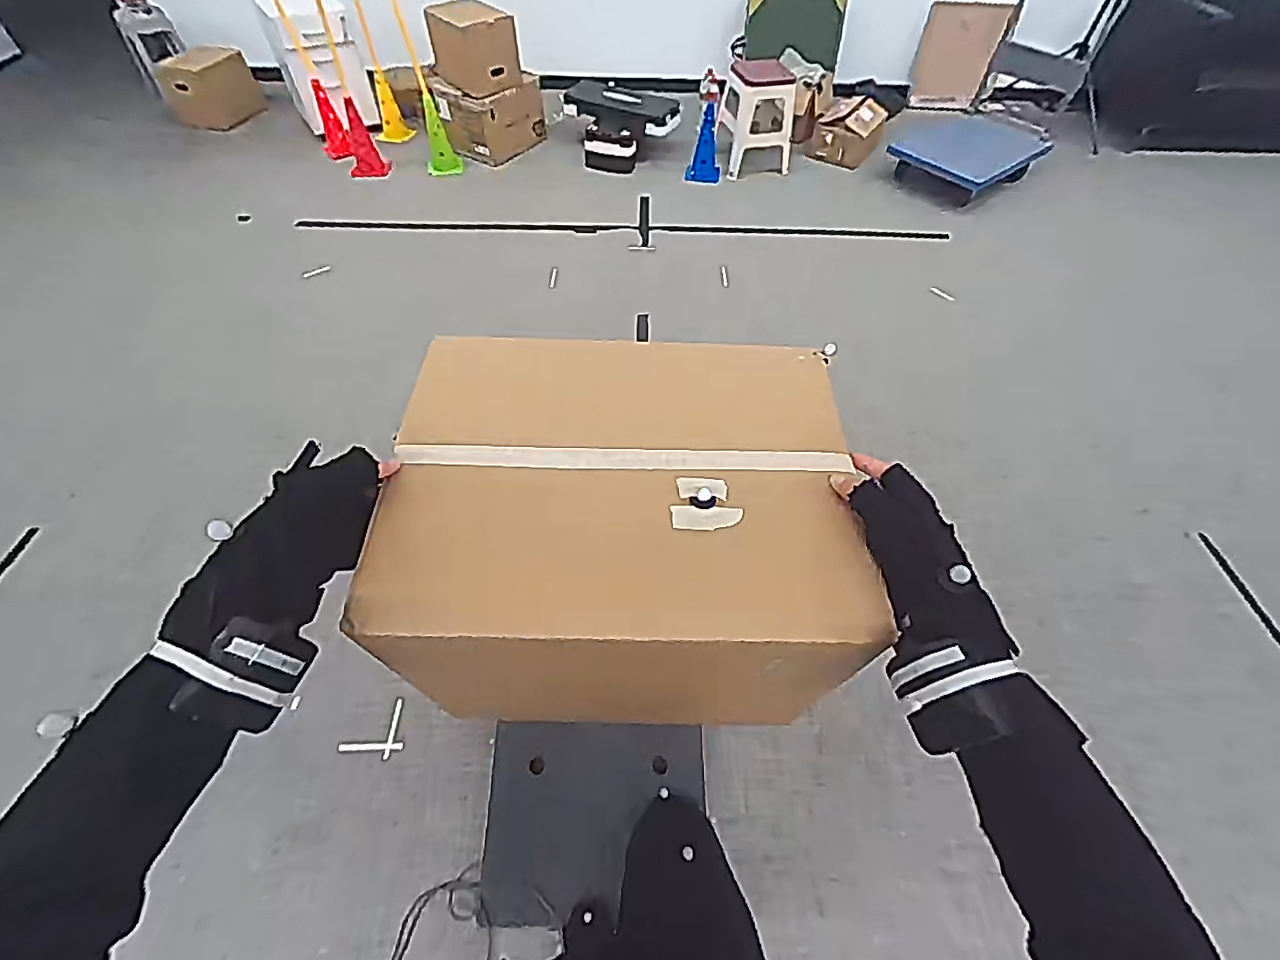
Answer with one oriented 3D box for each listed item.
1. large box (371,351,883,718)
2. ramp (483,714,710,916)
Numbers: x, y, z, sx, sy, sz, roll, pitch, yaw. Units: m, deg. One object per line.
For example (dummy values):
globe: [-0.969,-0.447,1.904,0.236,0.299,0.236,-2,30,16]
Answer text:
large box: [-0.014,0.075,0.618,0.408,0.320,0.320,2,56,-1]
ramp: [-0.090,0.475,1.365,0.509,0.206,0.991,0,54,-3]
